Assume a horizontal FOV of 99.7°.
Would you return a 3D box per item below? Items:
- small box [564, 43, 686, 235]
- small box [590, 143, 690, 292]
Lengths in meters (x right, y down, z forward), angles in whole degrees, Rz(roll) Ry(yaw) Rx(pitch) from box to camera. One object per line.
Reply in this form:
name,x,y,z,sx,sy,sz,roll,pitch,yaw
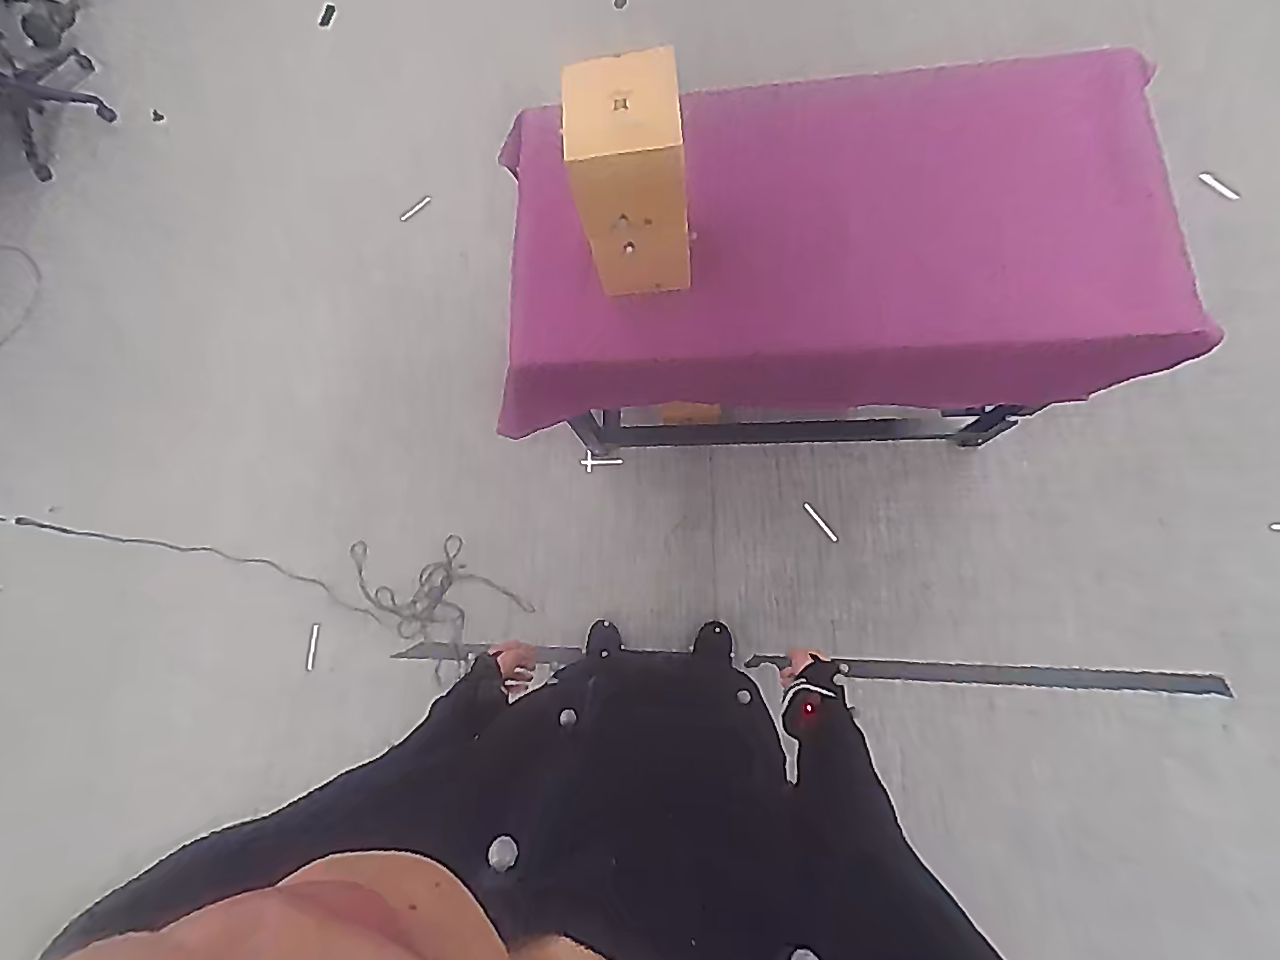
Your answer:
small box,-0.017,-0.509,0.826,0.168,0.176,0.179,-4,77,6
small box,0.006,-0.470,0.983,0.168,0.176,0.179,-2,76,6
